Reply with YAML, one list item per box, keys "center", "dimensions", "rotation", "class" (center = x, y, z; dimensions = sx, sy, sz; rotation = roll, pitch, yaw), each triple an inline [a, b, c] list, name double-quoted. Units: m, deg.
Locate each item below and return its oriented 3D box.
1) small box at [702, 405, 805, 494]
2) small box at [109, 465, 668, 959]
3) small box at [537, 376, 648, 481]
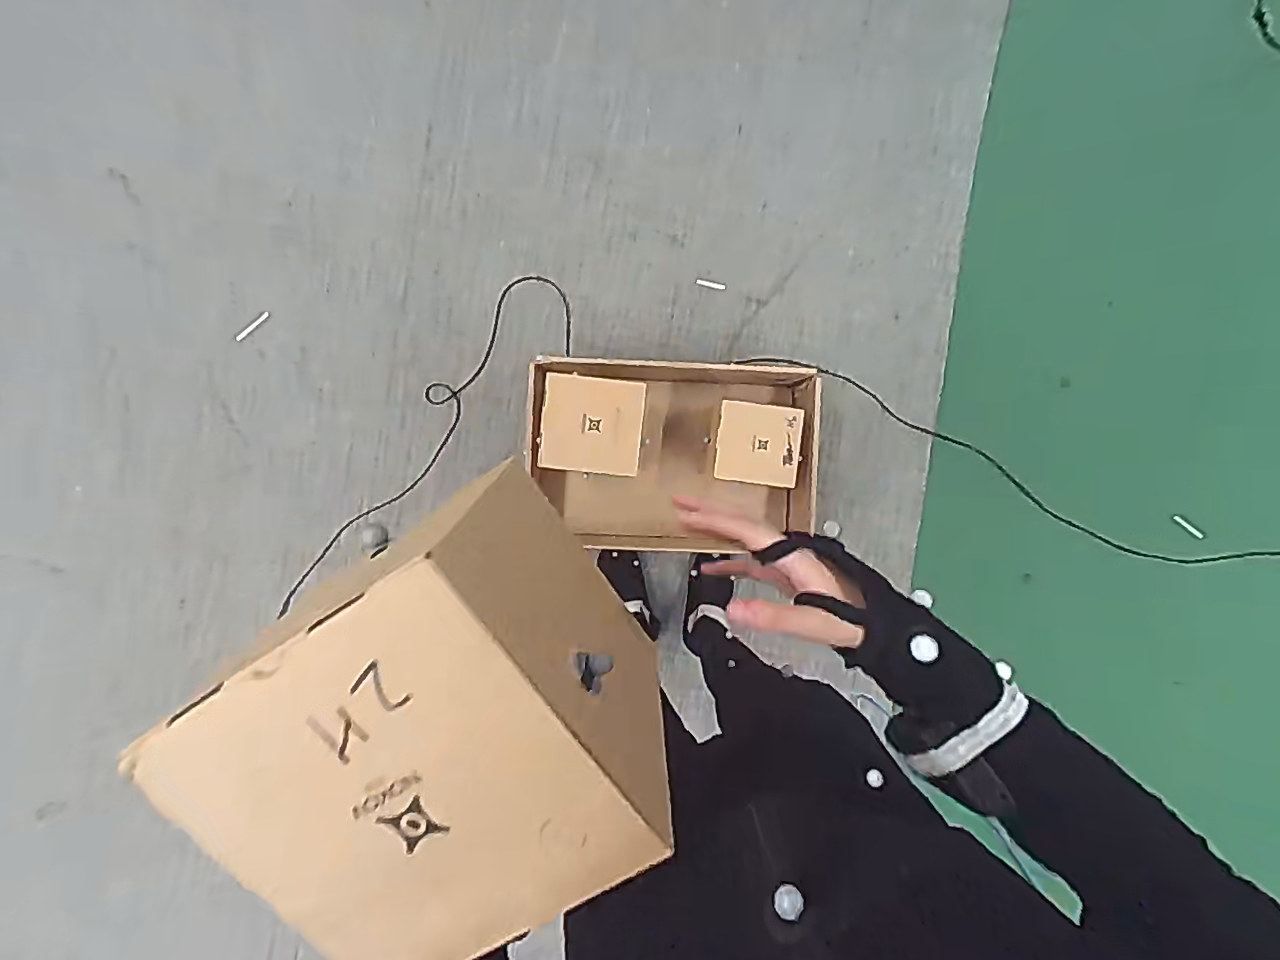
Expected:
- center: [0.240, -0.063, 1.188]
  dimensions: [0.179, 0.176, 0.168]
  rotation: [8, 90, -2]
  class: "small box"
- center: [-0.100, 0.115, 0.302]
  dimensions: [0.168, 0.176, 0.179]
  rotation: [-32, 103, 6]
  class: "small box"
- center: [-0.086, -0.090, 1.009]
  dimensions: [0.179, 0.176, 0.168]
  rotation: [7, 92, -4]
  class: "small box"
